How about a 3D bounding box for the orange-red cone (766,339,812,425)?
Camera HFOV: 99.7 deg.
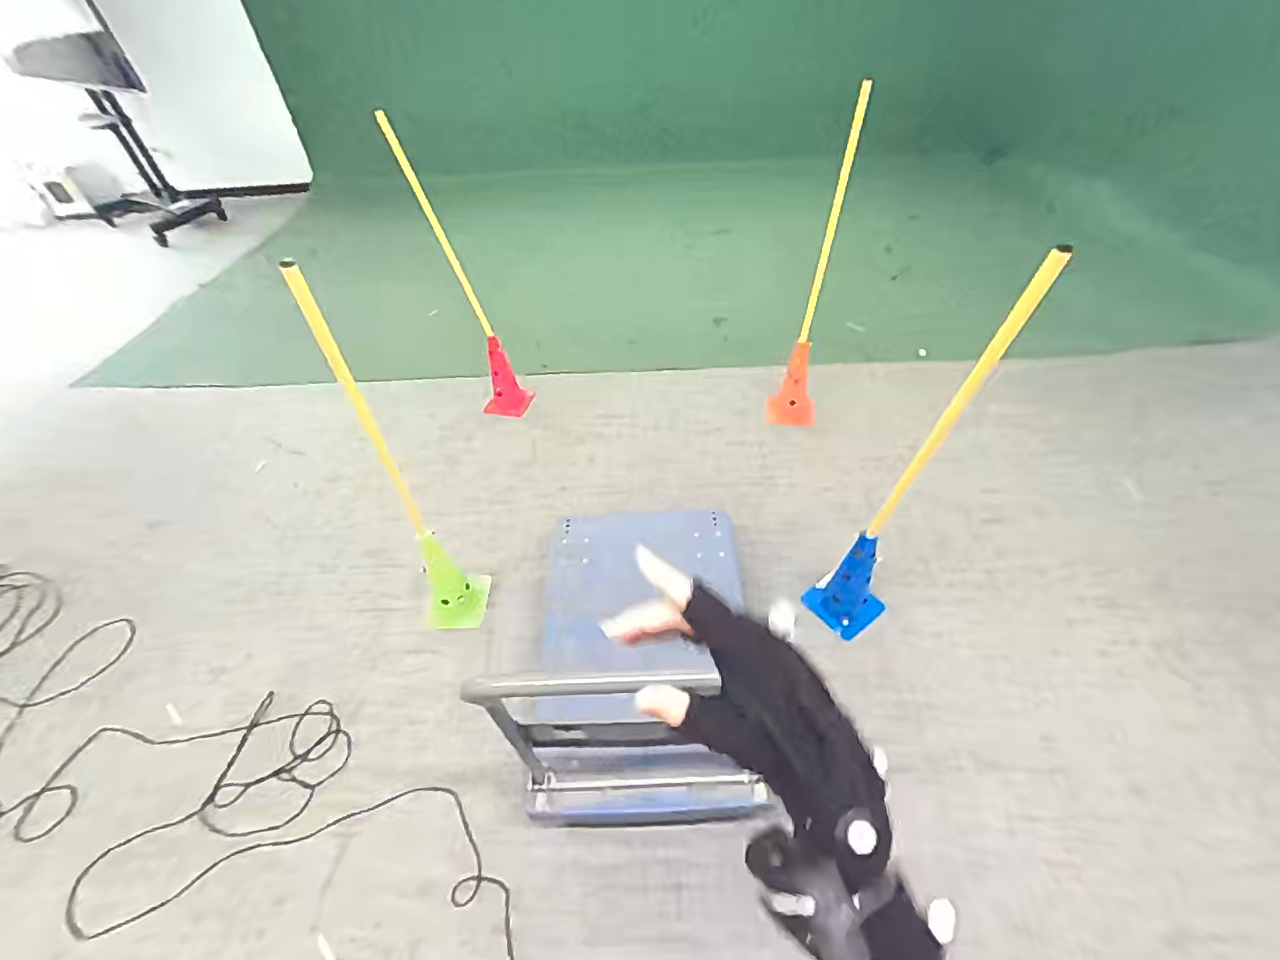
[{"bbox_3d":[0.649,-0.428,2.272,0.198,0.360,0.199,6,47,11],"label":"orange-red cone"}]
